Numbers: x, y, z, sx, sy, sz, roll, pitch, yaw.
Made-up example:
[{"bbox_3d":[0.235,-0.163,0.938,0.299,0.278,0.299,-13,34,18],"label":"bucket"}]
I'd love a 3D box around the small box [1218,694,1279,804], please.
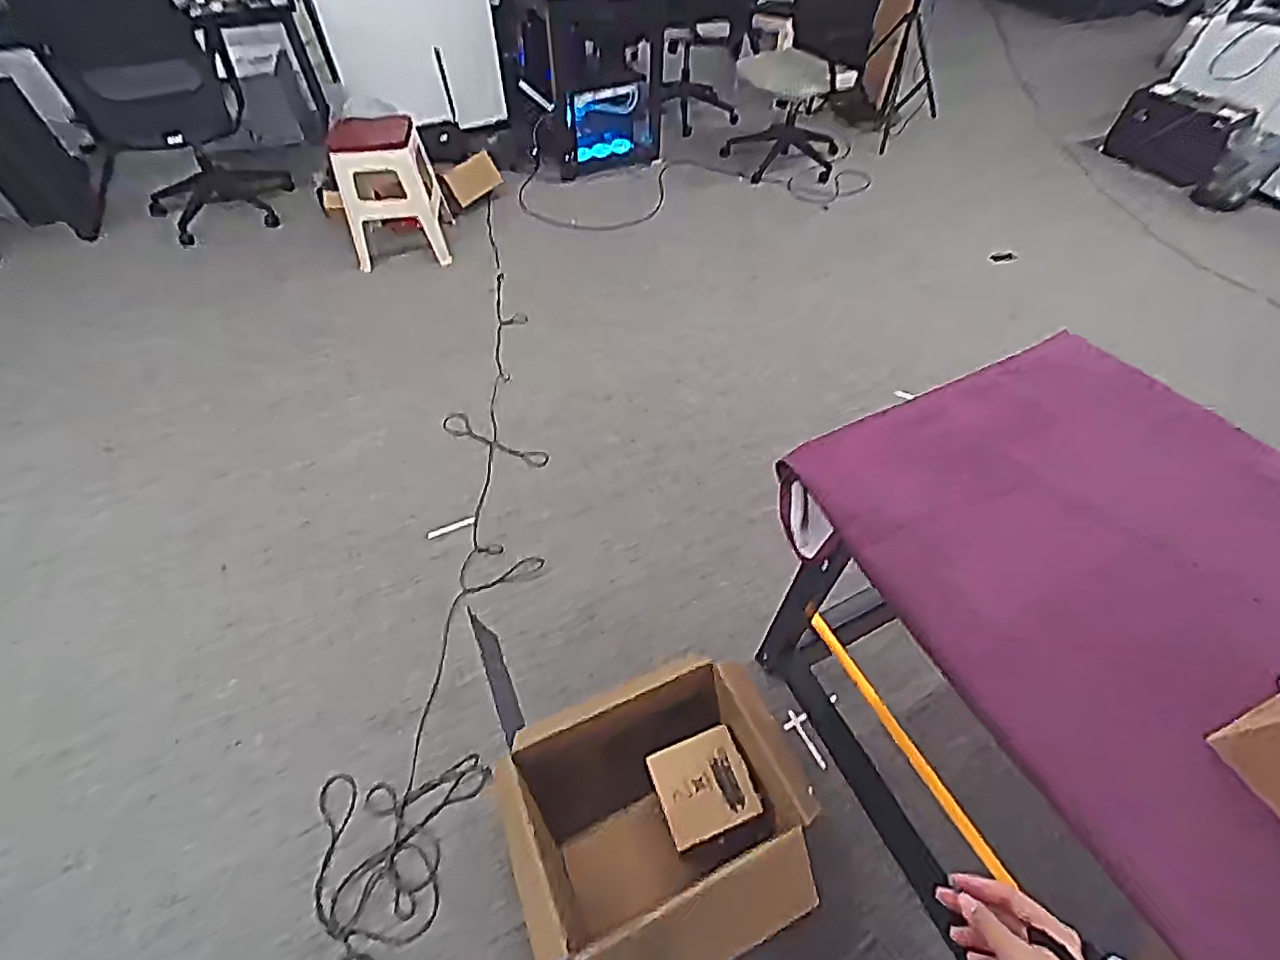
[{"bbox_3d":[0.703,0.258,0.472,0.168,0.176,0.179,-18,54,-13],"label":"small box"}]
